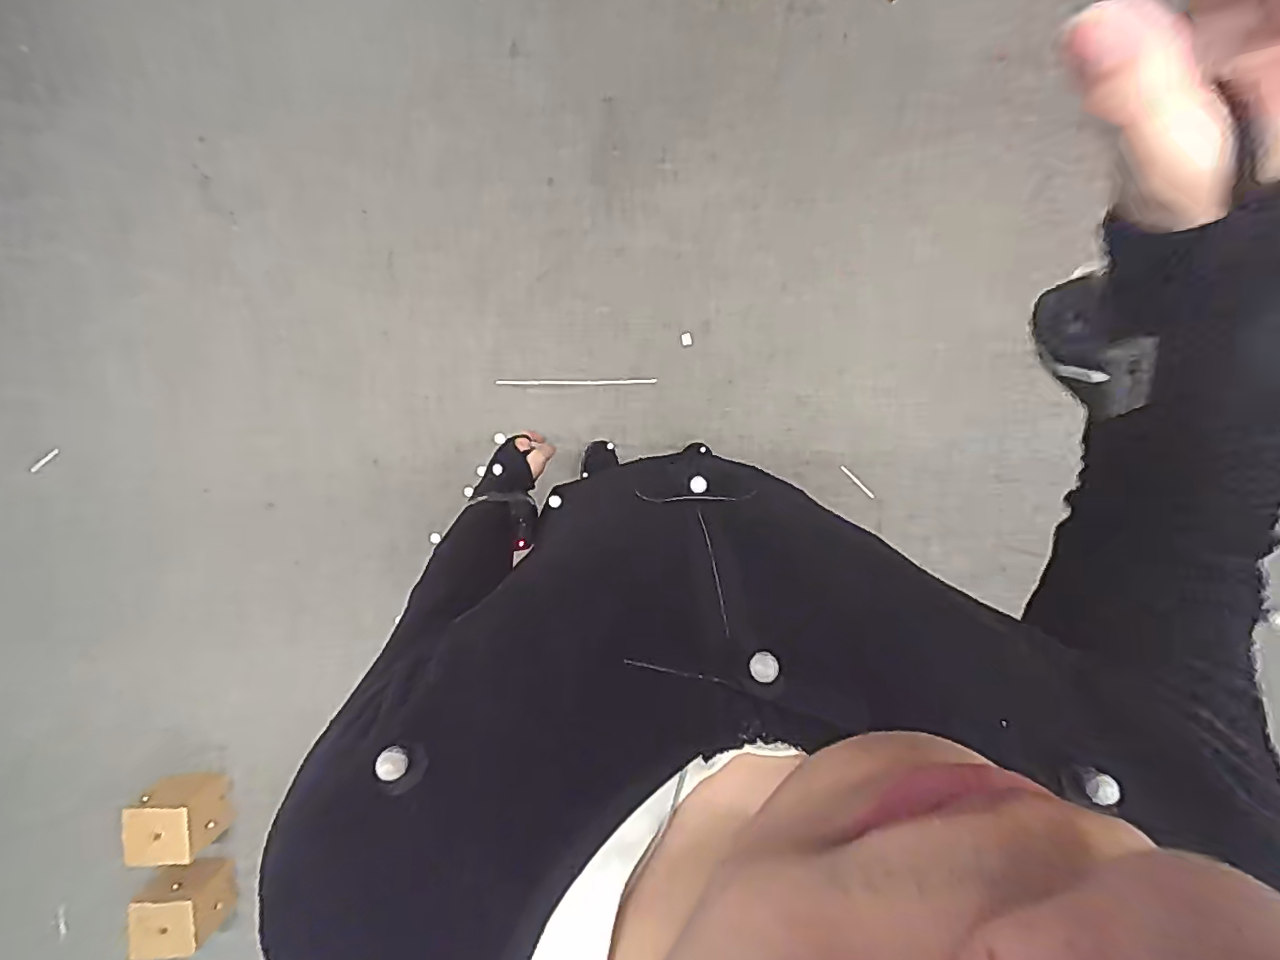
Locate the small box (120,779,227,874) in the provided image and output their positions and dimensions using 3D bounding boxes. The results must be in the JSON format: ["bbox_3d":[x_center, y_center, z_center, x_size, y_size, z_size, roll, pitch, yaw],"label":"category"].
[{"bbox_3d":[-1.322,0.985,1.549,0.179,0.176,0.168,-1,93,-2],"label":"small box"}]

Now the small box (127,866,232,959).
[{"bbox_3d":[-1.315,1.252,1.559,0.179,0.176,0.168,-1,92,-2],"label":"small box"}]
